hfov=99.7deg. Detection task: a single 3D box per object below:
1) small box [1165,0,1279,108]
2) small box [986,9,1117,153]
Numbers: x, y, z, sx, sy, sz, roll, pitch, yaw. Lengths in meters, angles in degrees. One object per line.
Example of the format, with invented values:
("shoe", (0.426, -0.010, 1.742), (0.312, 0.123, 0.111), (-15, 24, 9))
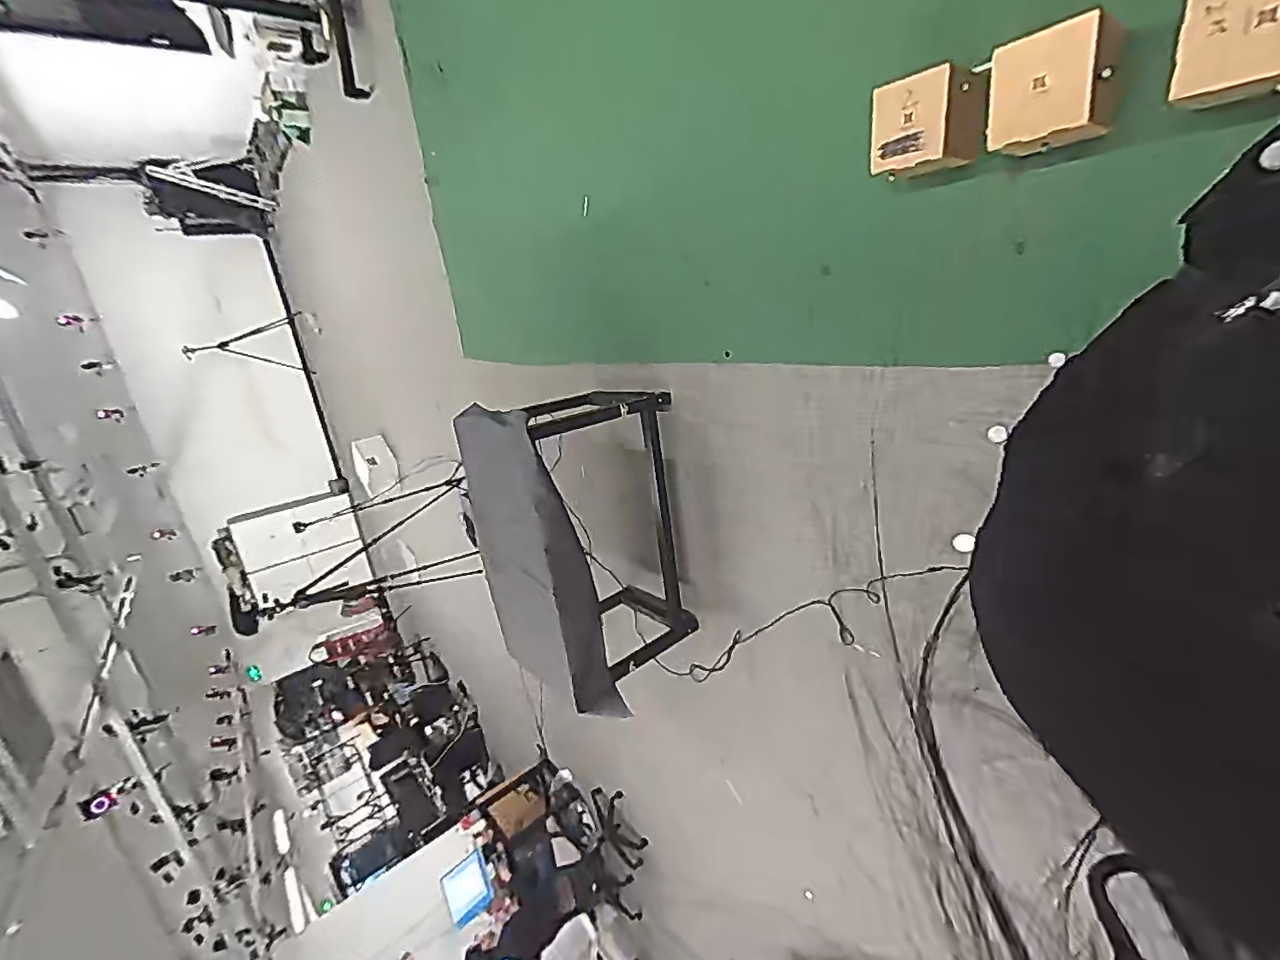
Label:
("small box", (0.981, -0.714, 0.855), (0.179, 0.176, 0.168), (17, 119, 48))
("small box", (0.807, -0.767, 1.062), (0.168, 0.176, 0.179), (13, 118, 49))
